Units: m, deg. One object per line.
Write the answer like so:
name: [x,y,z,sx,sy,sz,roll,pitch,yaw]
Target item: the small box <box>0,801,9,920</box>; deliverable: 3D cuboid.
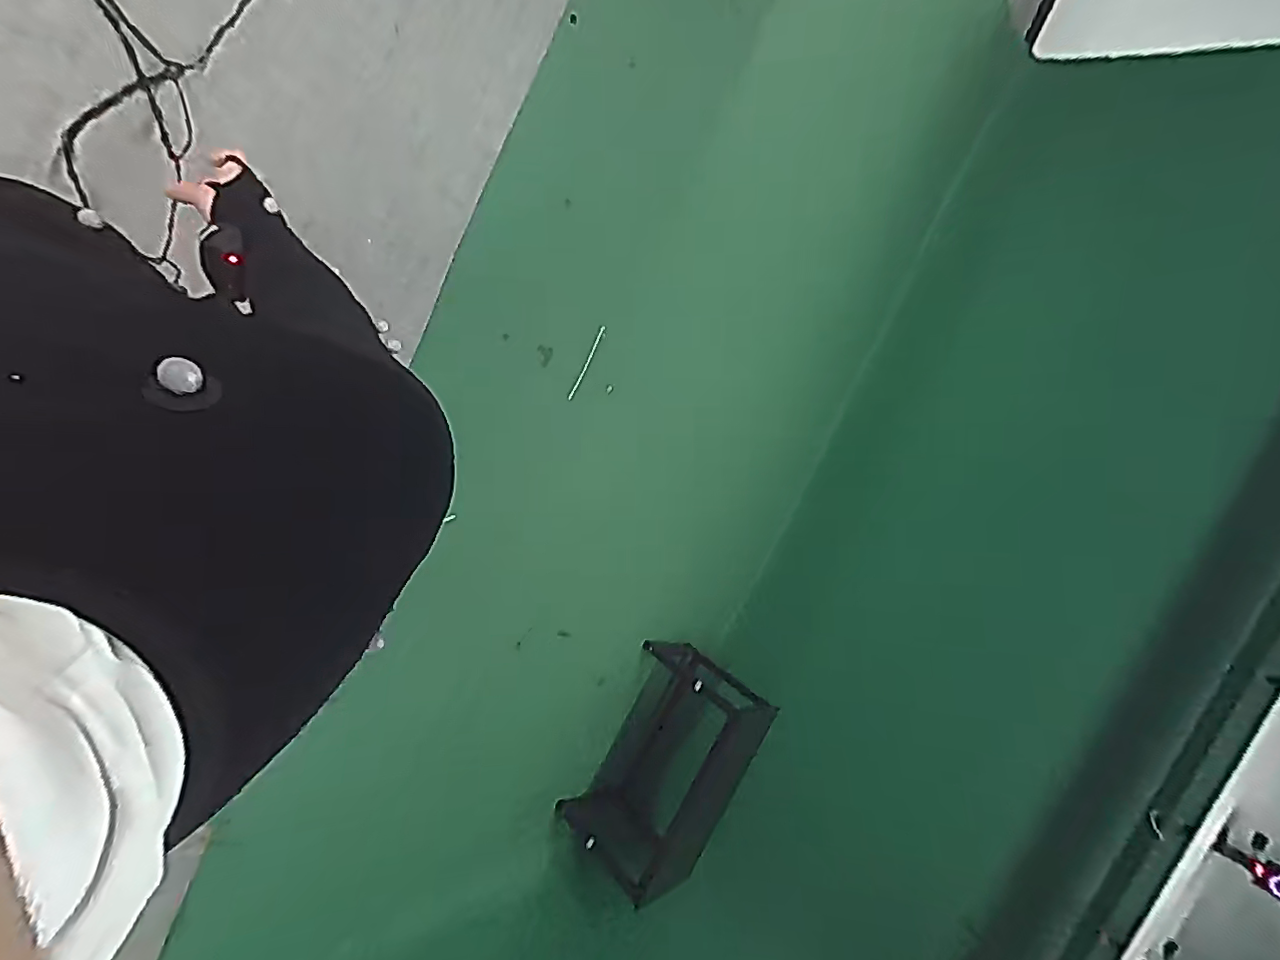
small box: [-0.895,0.519,0.633,0.168,0.176,0.179,30,89,-53]
